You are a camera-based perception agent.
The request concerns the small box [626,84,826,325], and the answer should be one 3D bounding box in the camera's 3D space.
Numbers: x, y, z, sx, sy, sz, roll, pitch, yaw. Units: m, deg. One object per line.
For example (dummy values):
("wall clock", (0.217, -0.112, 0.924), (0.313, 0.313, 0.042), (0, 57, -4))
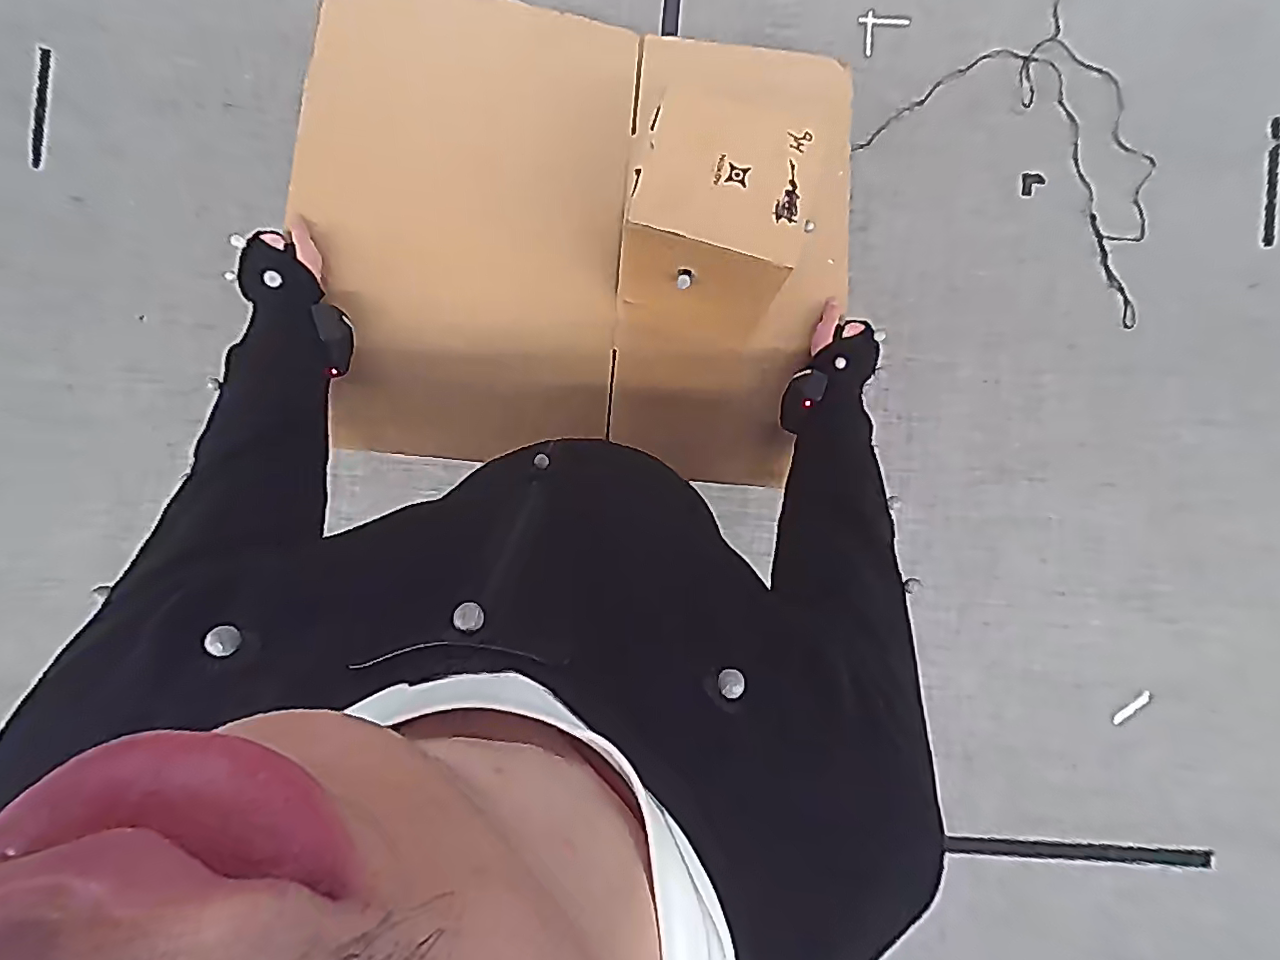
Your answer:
("small box", (0.087, -0.302, 0.629), (0.179, 0.176, 0.168), (15, 83, 0))
